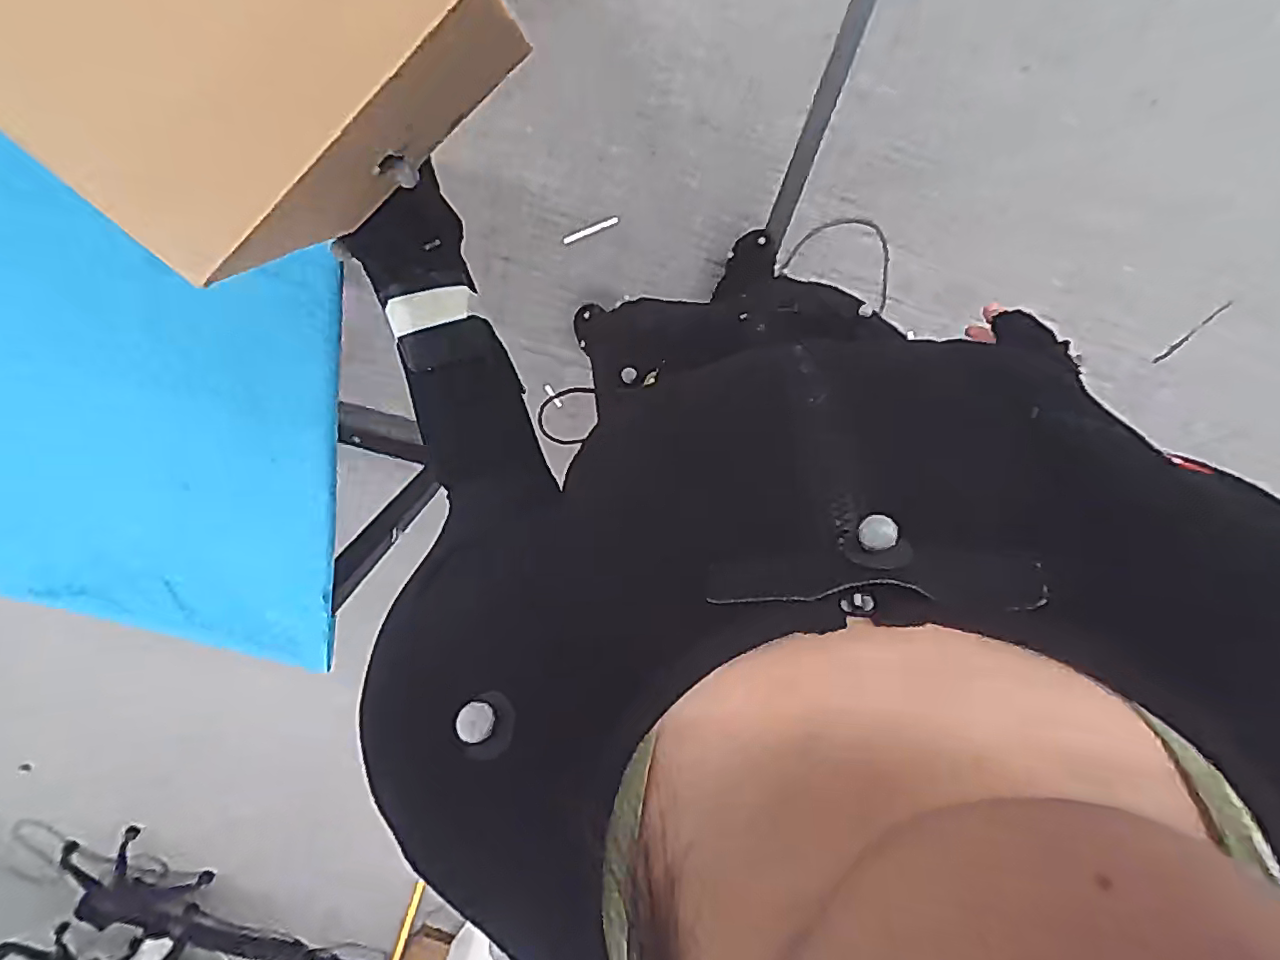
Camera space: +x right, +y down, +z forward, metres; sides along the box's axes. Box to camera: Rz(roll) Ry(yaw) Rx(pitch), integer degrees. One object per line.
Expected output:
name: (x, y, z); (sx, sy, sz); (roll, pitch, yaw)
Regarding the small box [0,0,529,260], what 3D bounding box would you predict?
small box: (-0.166, -0.232, 0.229); (0.168, 0.176, 0.179); (-33, 119, 15)
